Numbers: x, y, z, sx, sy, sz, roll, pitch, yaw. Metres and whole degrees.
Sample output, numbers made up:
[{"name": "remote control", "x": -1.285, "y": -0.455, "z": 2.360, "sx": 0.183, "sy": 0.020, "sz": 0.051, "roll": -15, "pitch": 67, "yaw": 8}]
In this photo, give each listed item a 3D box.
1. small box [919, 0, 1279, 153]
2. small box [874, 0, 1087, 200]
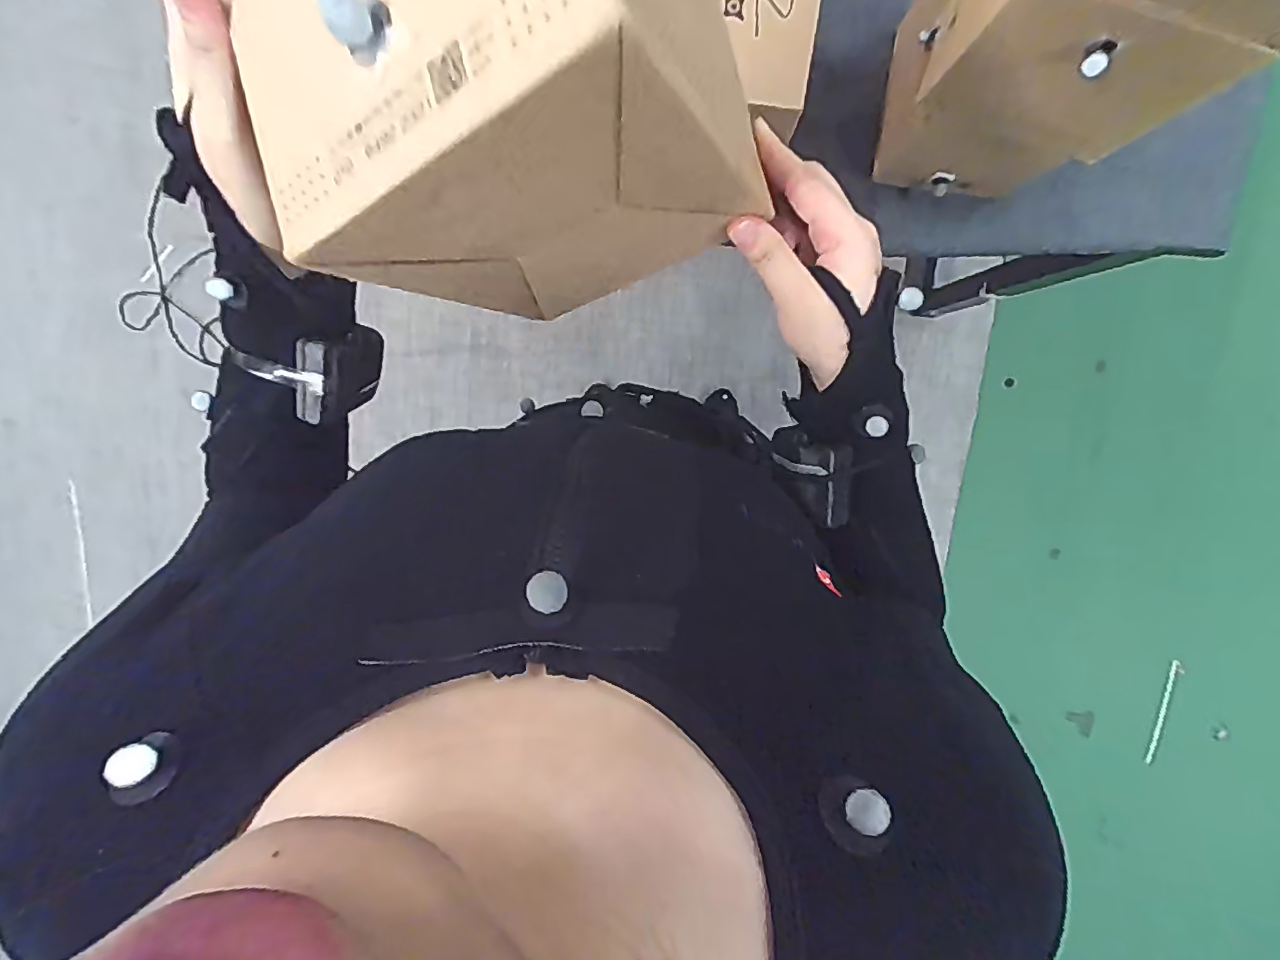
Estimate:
[{"name": "small box", "x": 0.355, "y": -0.382, "z": 0.409, "sx": 0.179, "sy": 0.176, "sz": 0.168, "roll": 18, "pitch": 100, "yaw": 2}, {"name": "small box", "x": 0.366, "y": -0.422, "z": 0.566, "sx": 0.168, "sy": 0.176, "sz": 0.179, "roll": 8, "pitch": 100, "yaw": 3}]
